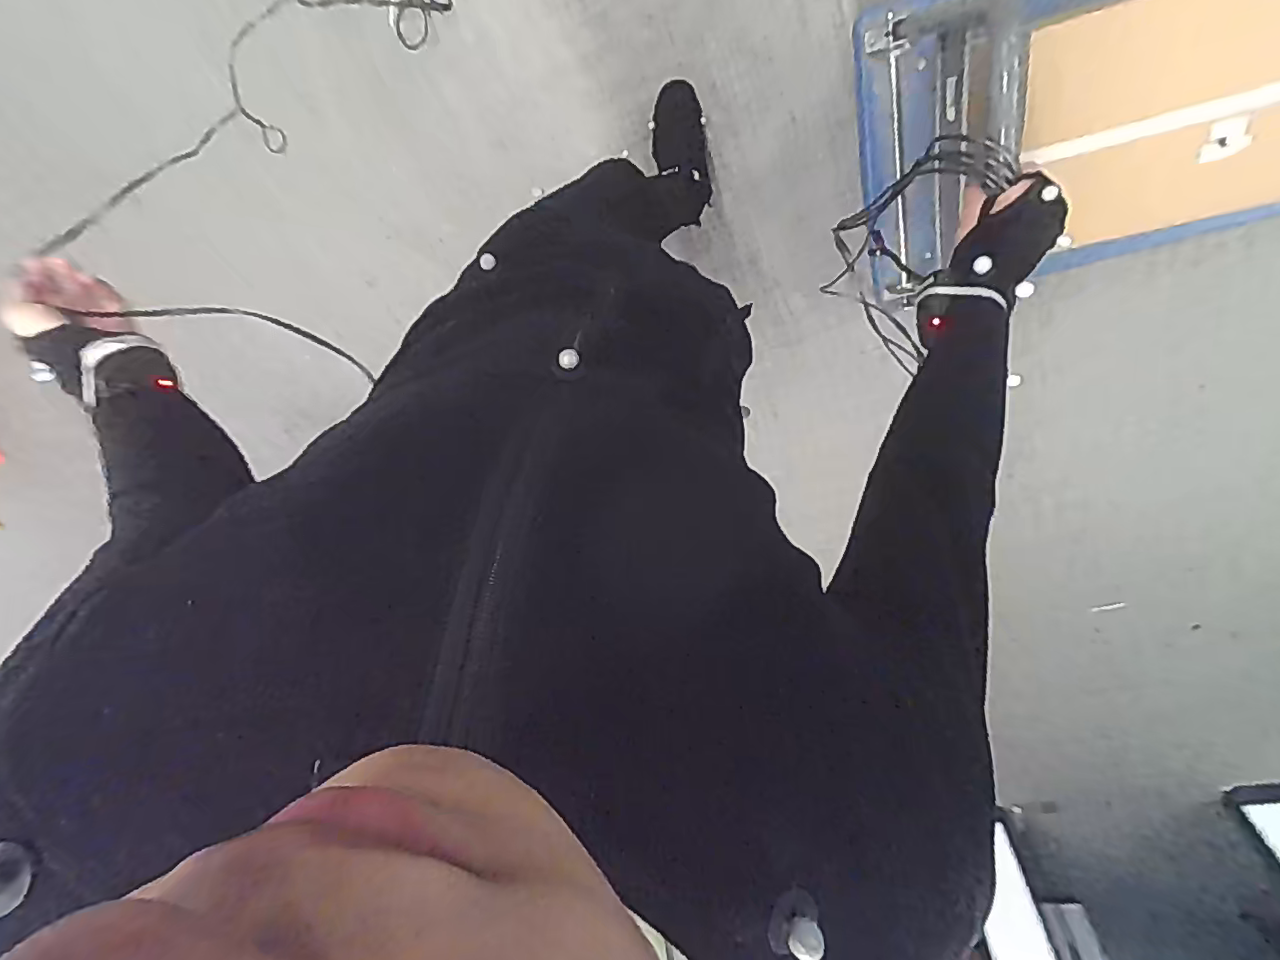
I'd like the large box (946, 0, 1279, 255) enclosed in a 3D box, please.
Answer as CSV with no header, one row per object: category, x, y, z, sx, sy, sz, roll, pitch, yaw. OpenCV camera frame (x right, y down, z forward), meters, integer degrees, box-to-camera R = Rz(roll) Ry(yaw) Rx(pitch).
large box,0.769,-0.610,0.885,0.408,0.320,0.320,-9,125,13
